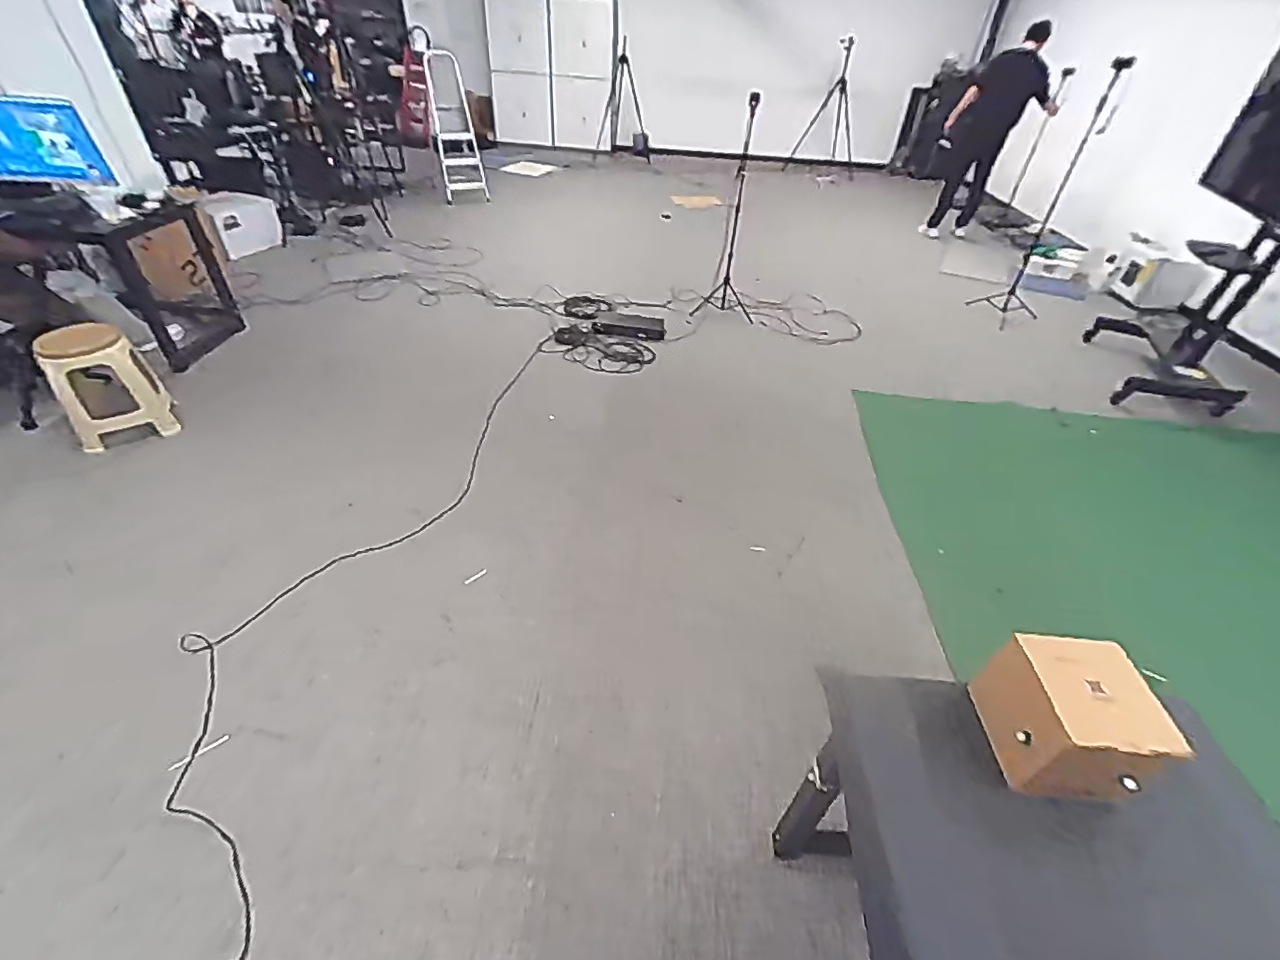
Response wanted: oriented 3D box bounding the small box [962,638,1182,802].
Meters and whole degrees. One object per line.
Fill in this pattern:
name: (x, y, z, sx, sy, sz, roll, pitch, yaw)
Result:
small box: (0.648, 0.375, 0.841, 0.168, 0.176, 0.179, 6, 38, -3)
